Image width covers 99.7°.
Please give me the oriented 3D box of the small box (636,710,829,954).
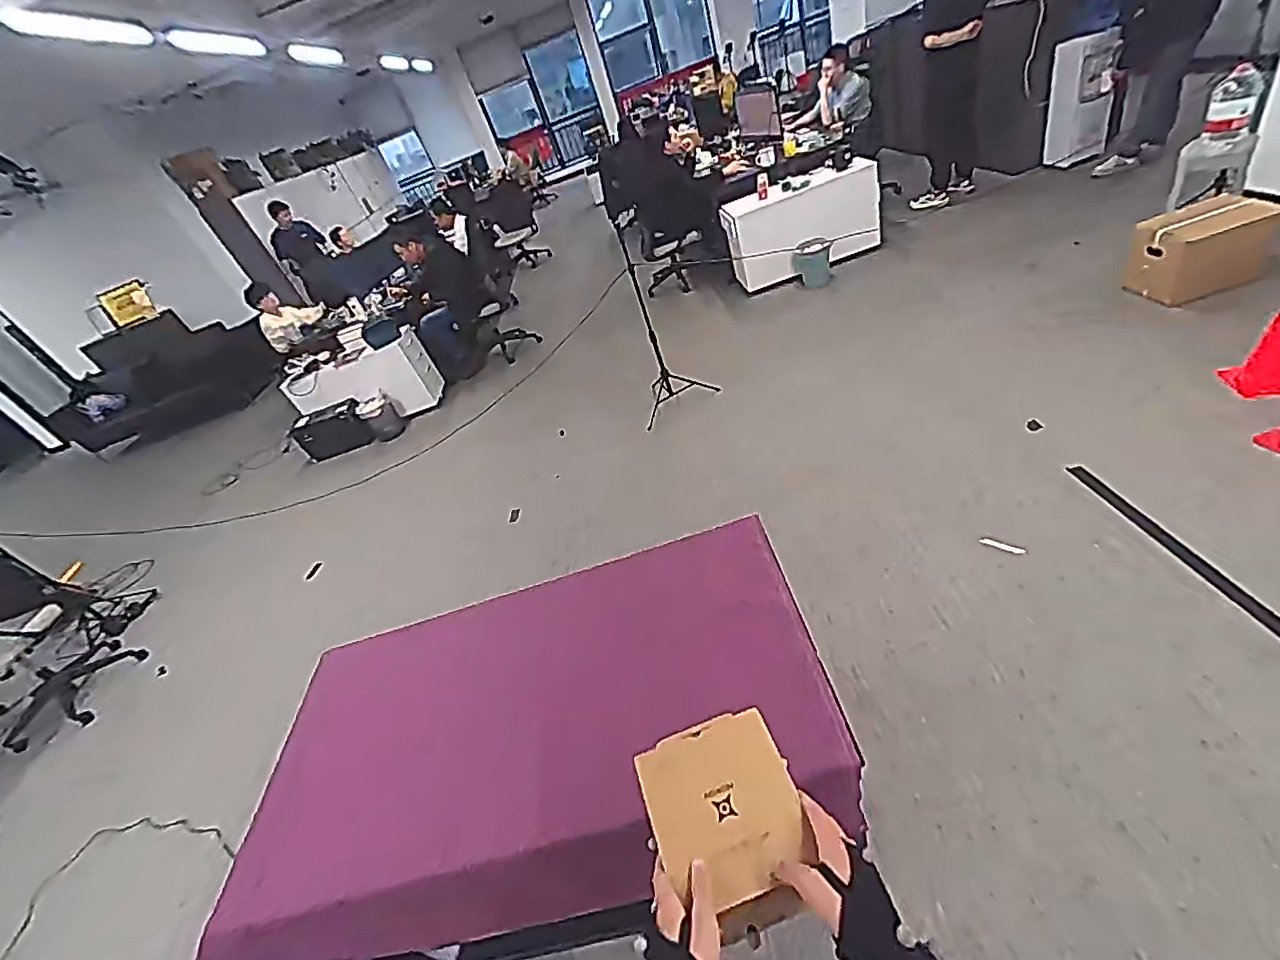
[{"bbox_3d":[0.107,0.421,0.652,0.168,0.176,0.179,-19,40,-5],"label":"small box"}]
